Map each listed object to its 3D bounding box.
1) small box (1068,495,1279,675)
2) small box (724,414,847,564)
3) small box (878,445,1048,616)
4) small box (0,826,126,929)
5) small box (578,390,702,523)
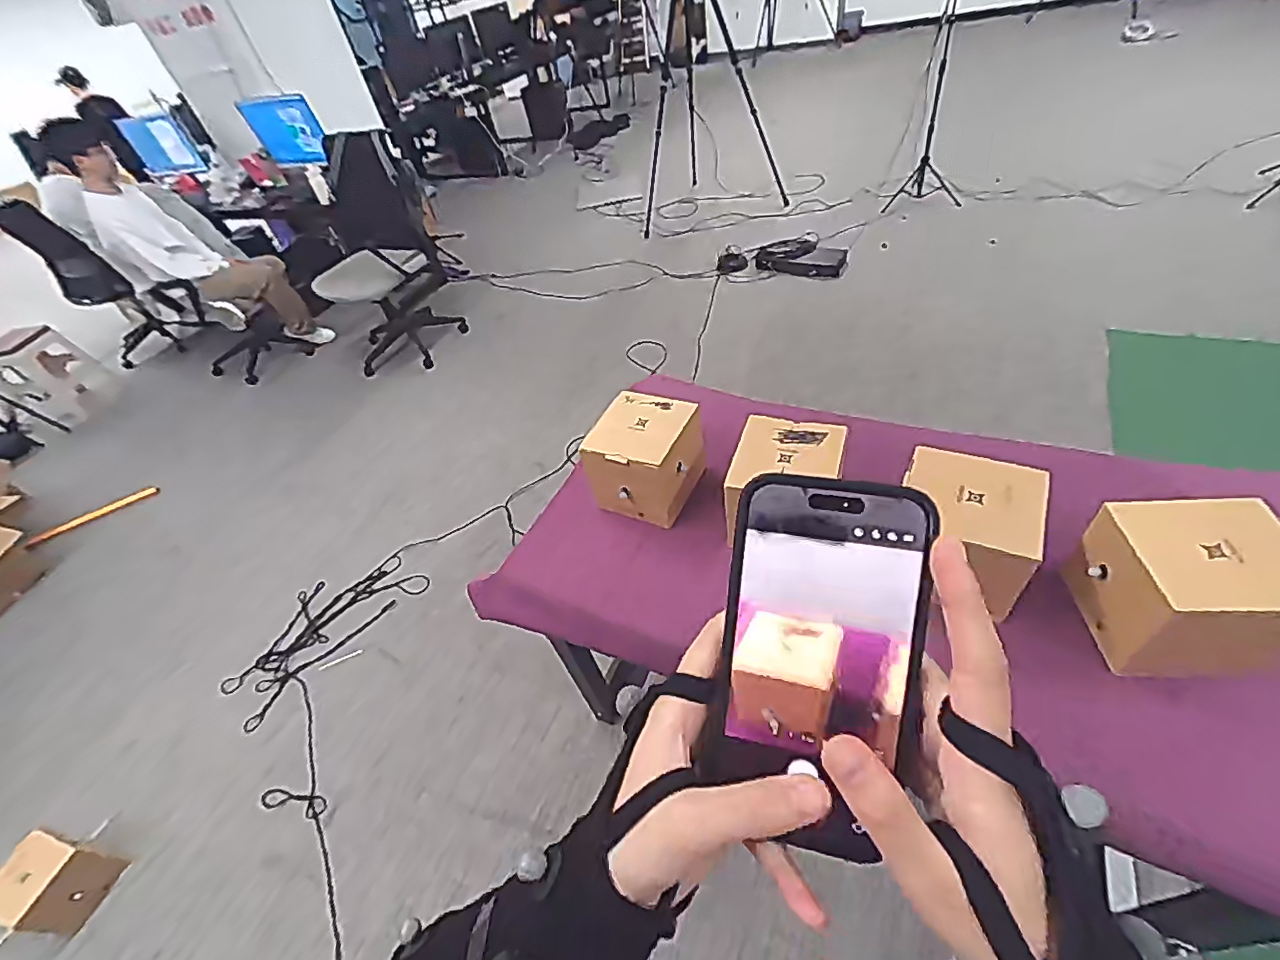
[{"bbox_3d":[0.697,0.137,0.696,0.179,0.176,0.168,-3,45,11],"label":"small box"},{"bbox_3d":[0.248,0.014,0.923,0.168,0.176,0.179,10,50,22],"label":"small box"},{"bbox_3d":[0.473,0.077,0.810,0.179,0.176,0.168,17,53,27],"label":"small box"},{"bbox_3d":[-1.490,1.015,1.378,0.179,0.176,0.168,6,48,19],"label":"small box"},{"bbox_3d":[0.011,-0.044,1.035,0.168,0.176,0.179,15,52,25],"label":"small box"}]
